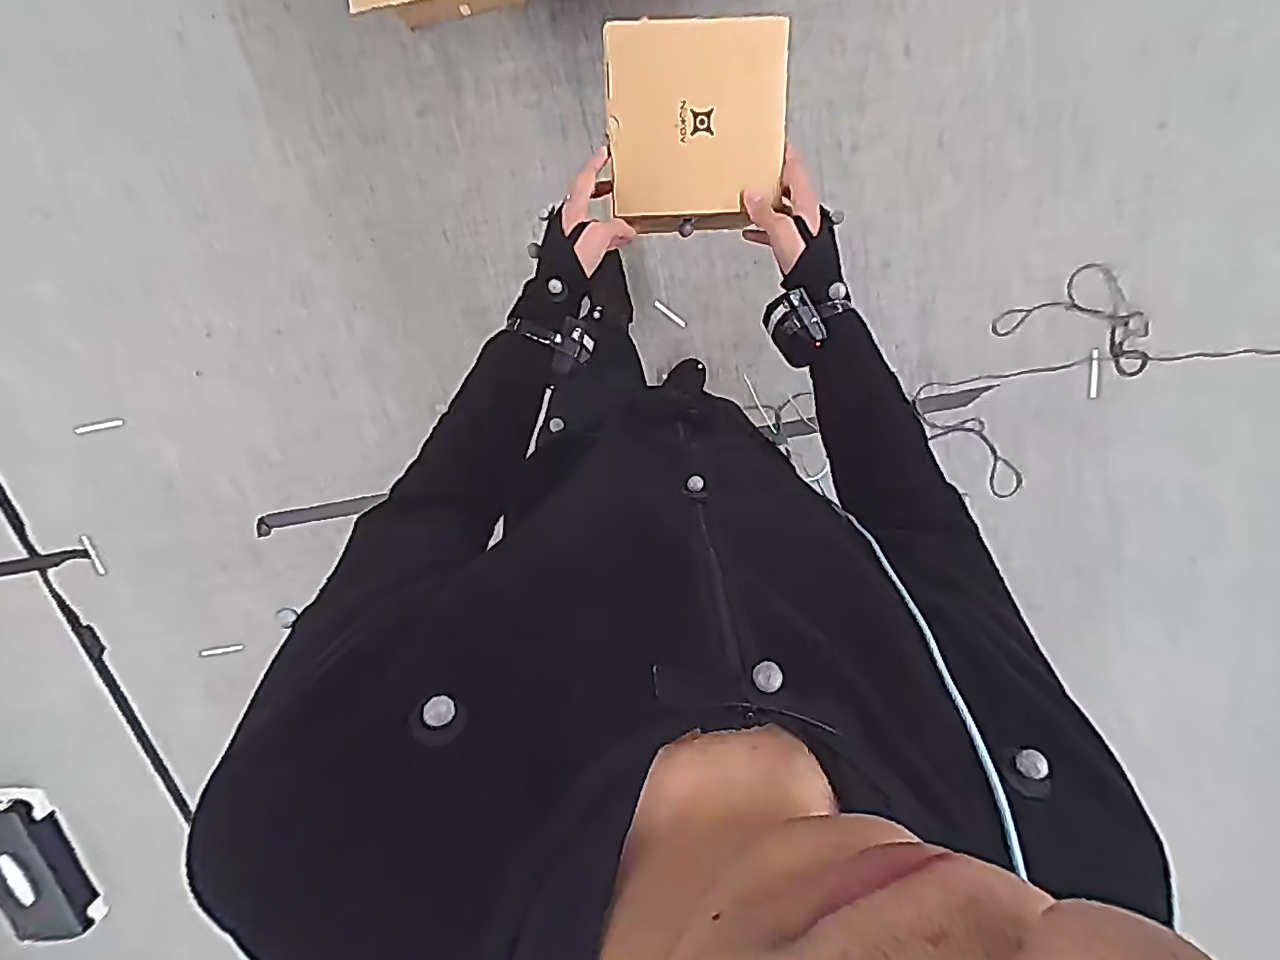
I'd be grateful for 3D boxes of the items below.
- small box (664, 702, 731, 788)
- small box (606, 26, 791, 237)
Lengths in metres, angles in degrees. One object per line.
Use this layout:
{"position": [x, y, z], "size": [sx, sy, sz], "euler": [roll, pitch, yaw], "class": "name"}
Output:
{"position": [0.176, 0.820, 1.687], "size": [0.179, 0.176, 0.168], "euler": [-12, 107, 6], "class": "small box"}
{"position": [0.054, -0.368, 0.601], "size": [0.179, 0.176, 0.168], "euler": [-3, 109, 0], "class": "small box"}
